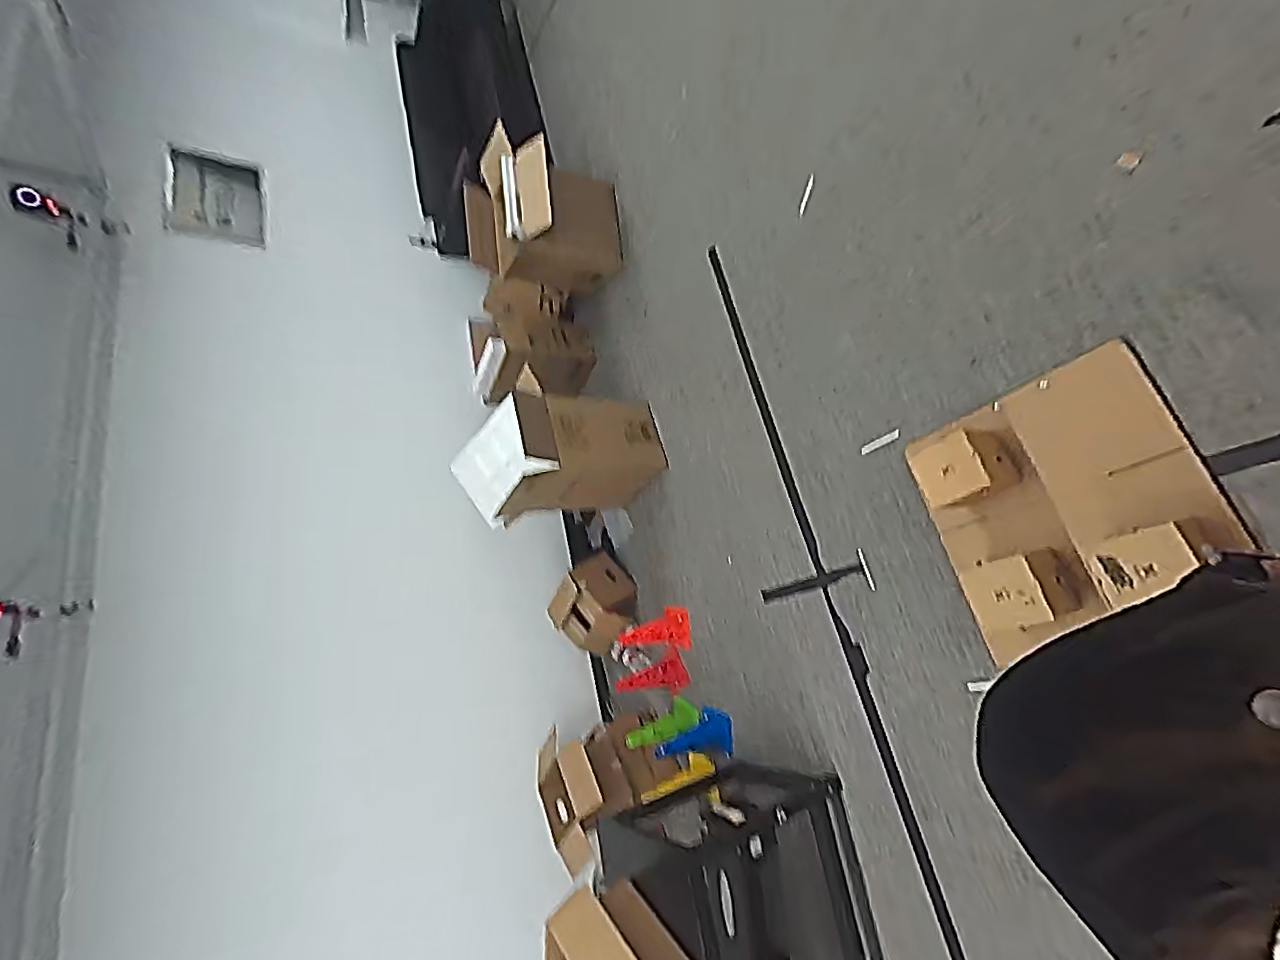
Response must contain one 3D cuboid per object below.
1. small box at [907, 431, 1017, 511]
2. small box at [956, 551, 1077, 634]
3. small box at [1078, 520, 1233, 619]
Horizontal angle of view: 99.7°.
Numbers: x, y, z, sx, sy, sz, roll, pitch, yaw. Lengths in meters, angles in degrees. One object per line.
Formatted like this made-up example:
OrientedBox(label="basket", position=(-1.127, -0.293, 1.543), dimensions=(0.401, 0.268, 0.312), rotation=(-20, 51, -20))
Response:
OrientedBox(label="small box", position=(0.906, -0.022, 1.523), dimensions=(0.179, 0.176, 0.168), rotation=(-44, 55, 48))
OrientedBox(label="small box", position=(0.979, 0.293, 1.408), dimensions=(0.179, 0.176, 0.168), rotation=(-40, 60, 50))
OrientedBox(label="small box", position=(1.126, 0.195, 1.184), dimensions=(0.179, 0.176, 0.168), rotation=(-40, 59, 49))
